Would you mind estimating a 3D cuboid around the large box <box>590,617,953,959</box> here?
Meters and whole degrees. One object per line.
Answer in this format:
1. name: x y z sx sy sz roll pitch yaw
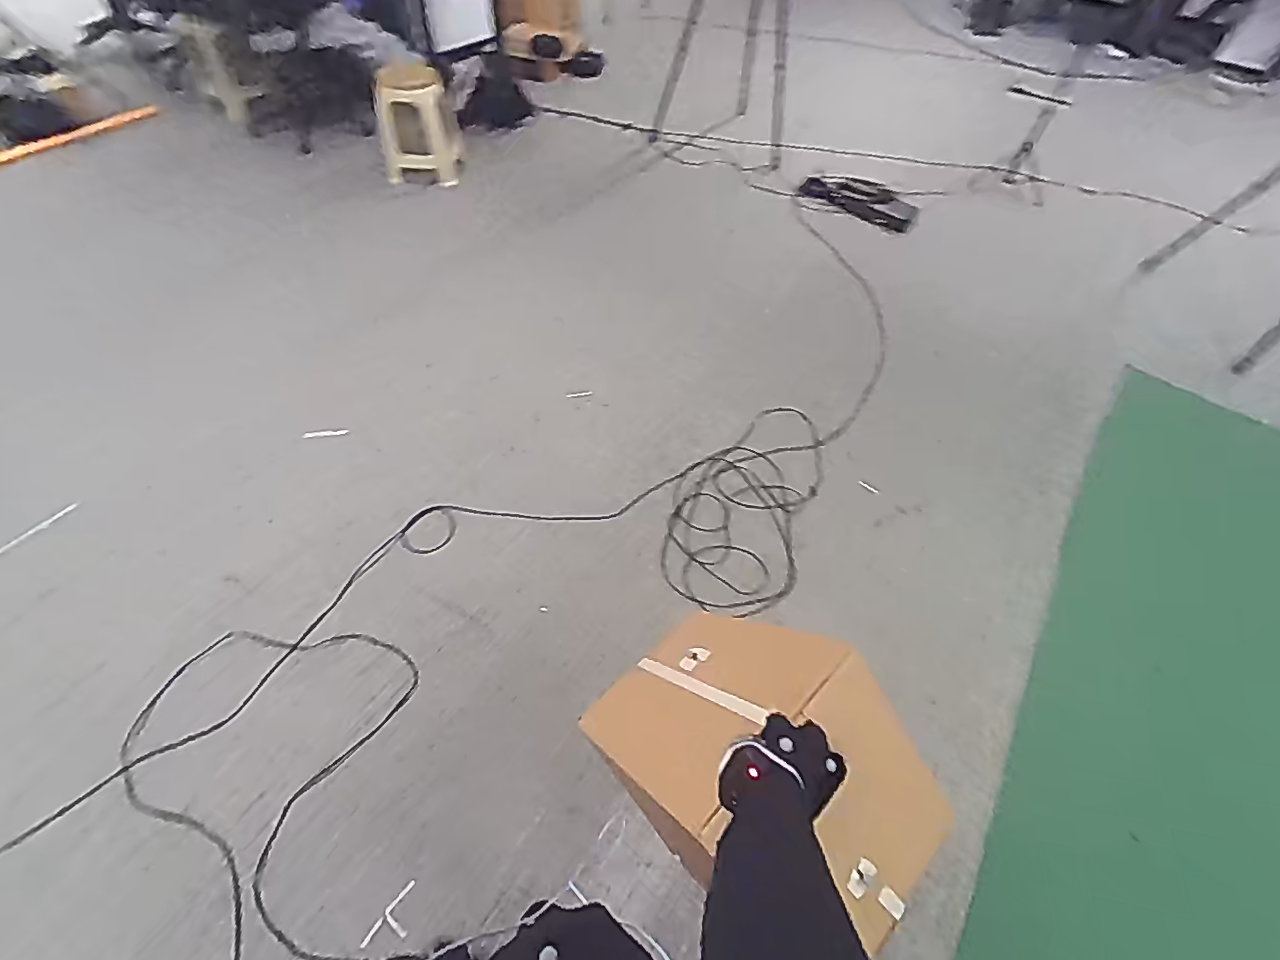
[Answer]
1. large box: 0.185 0.458 0.867 0.320 0.408 0.320 -36 99 -24
